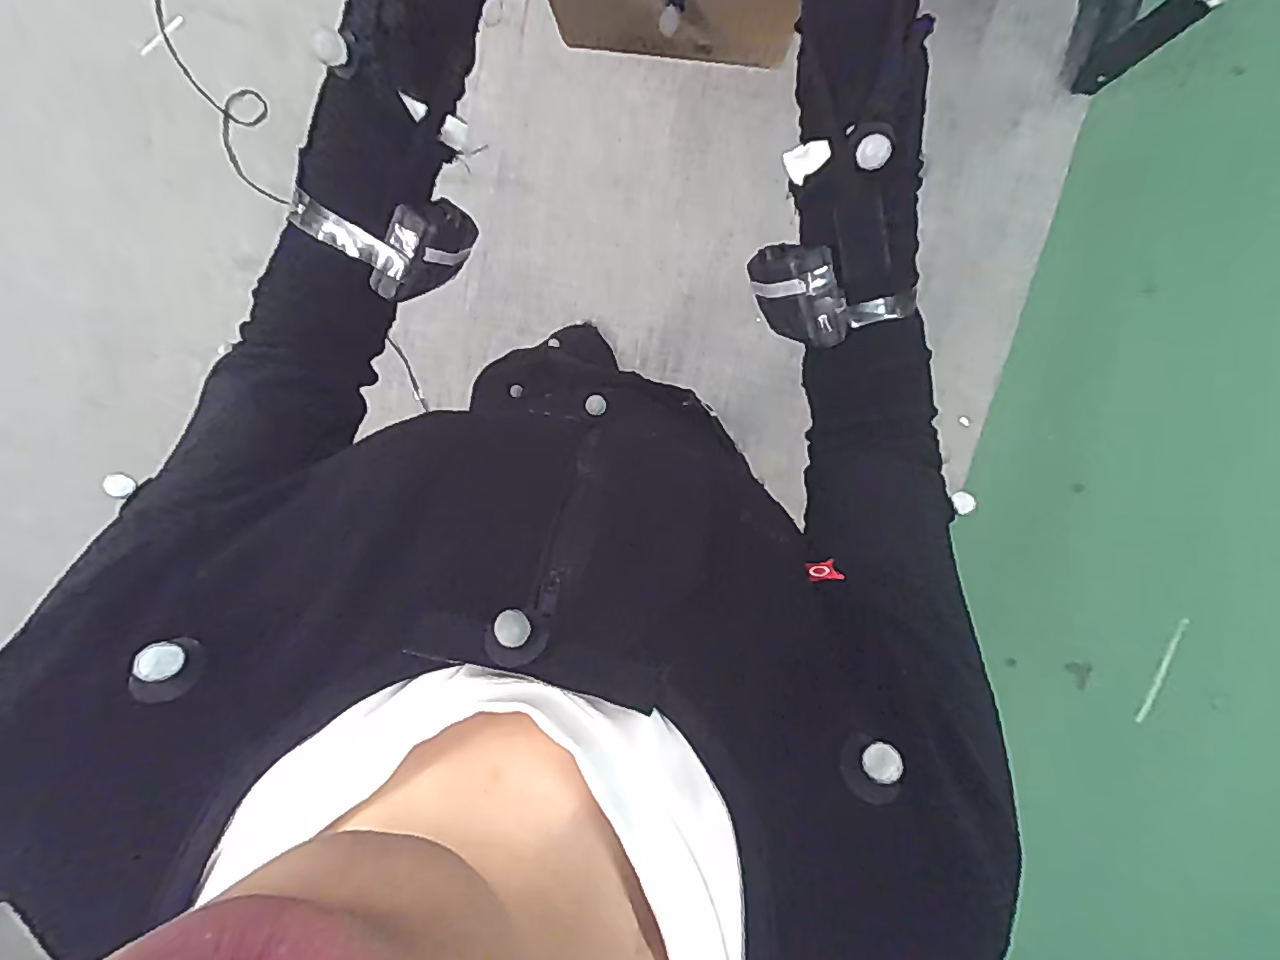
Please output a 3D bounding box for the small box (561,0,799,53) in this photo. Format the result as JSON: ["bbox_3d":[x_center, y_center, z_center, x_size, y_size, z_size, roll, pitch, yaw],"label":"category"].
[{"bbox_3d":[0.028,-0.381,0.306,0.168,0.176,0.179,7,107,2],"label":"small box"}]
